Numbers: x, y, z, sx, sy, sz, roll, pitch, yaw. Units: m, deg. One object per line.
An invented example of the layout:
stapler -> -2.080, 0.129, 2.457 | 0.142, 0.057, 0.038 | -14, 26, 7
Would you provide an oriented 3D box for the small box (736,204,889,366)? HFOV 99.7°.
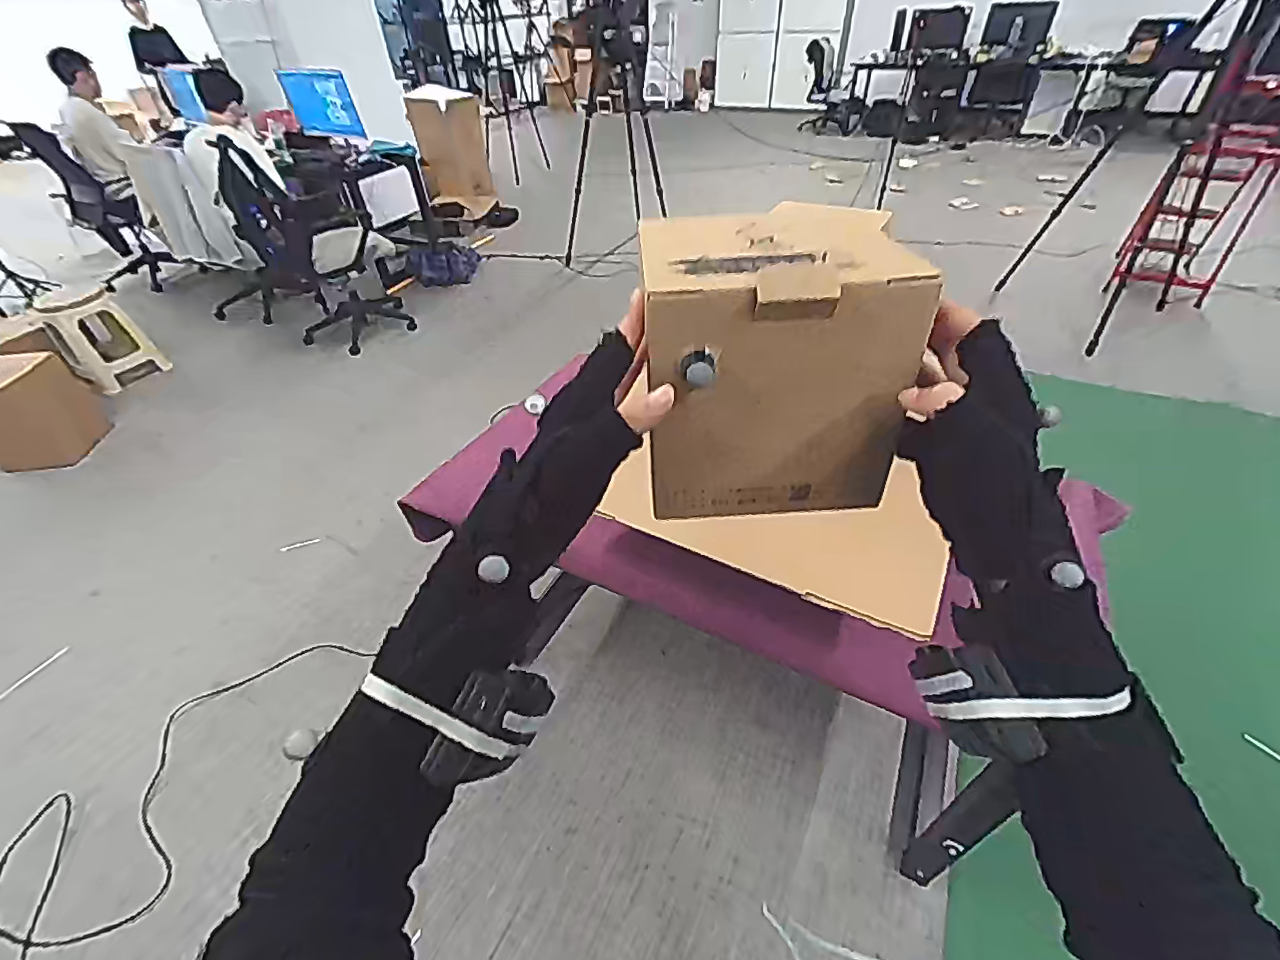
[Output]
small box -> 0.253, -0.296, 0.815 | 0.168, 0.176, 0.179 | 19, 46, 23
